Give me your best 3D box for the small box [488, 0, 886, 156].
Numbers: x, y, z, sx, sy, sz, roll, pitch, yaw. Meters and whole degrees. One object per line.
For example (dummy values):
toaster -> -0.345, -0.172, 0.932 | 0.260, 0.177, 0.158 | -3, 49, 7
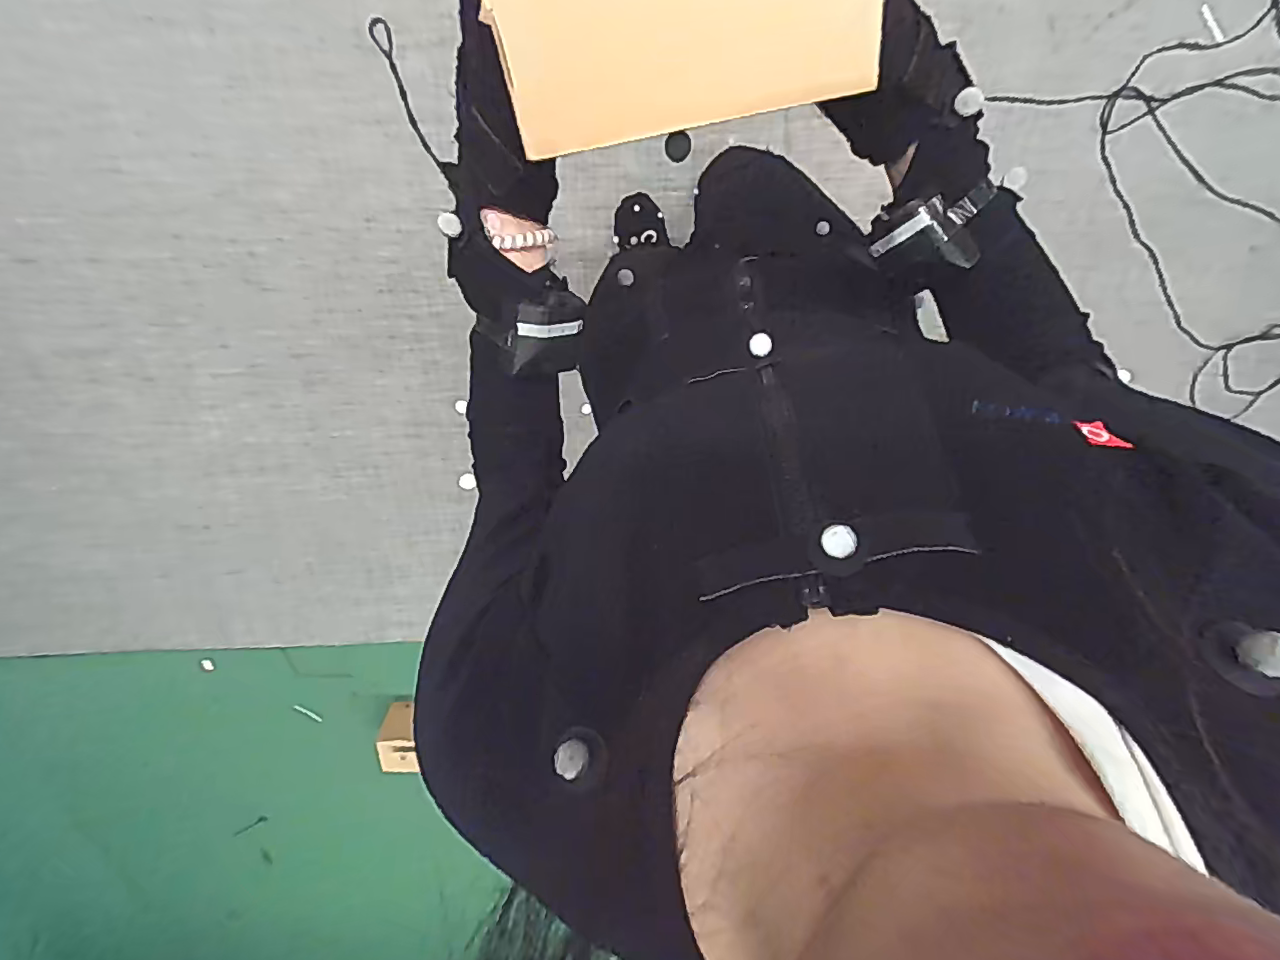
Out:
small box -> 0.015, -0.286, 0.279 | 0.179, 0.176, 0.168 | -8, 127, 6
